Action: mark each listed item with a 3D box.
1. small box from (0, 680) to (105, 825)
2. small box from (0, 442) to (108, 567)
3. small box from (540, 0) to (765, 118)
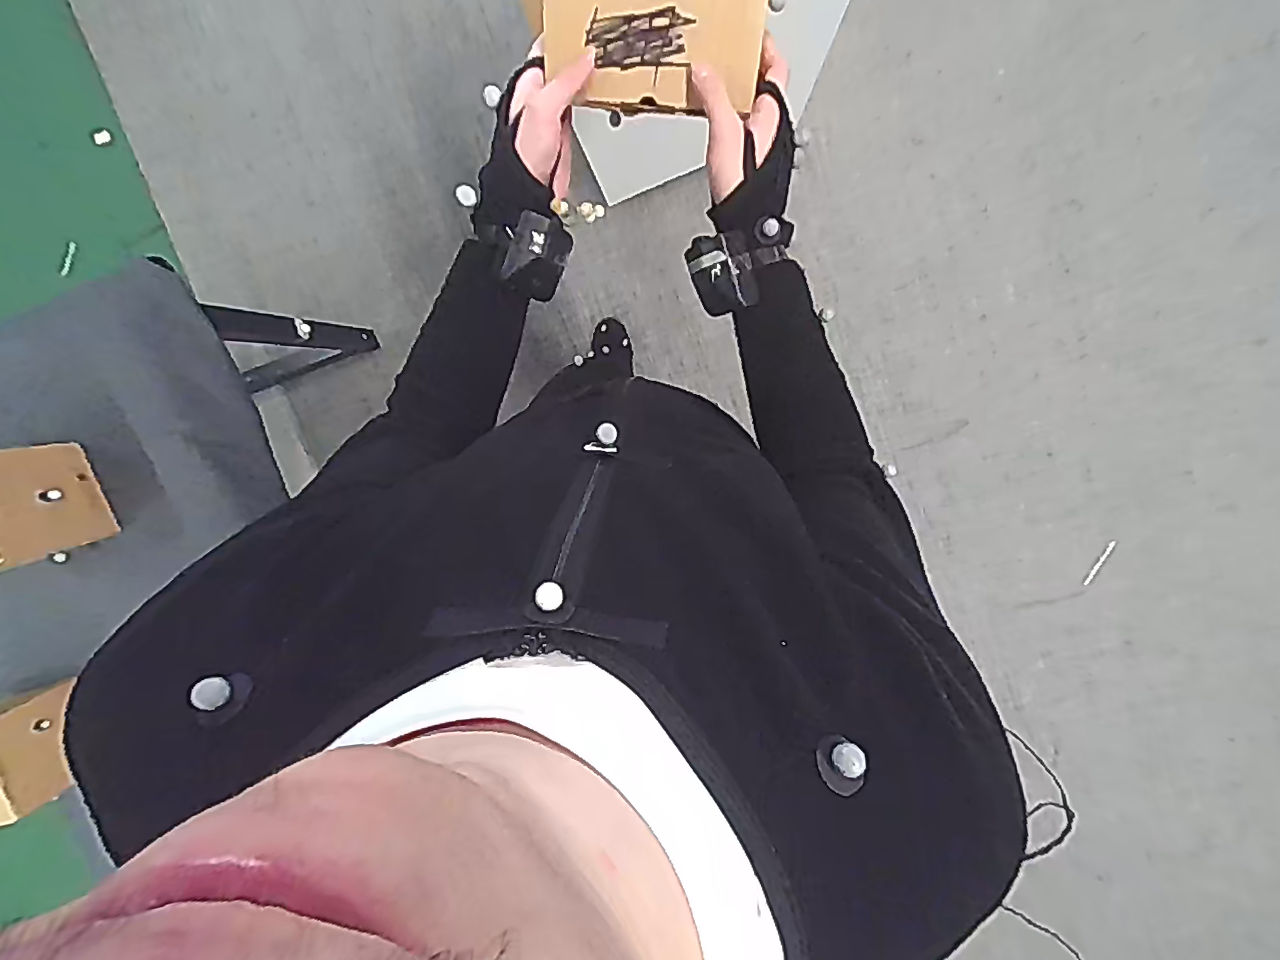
[{"bbox_3d":[-1.075,0.467,0.917,0.179,0.176,0.168,-19,98,8],"label":"small box"},{"bbox_3d":[-1.001,0.047,0.846,0.179,0.176,0.168,-18,98,7],"label":"small box"},{"bbox_3d":[0.021,-0.408,0.443,0.168,0.176,0.179,8,123,3],"label":"small box"}]
